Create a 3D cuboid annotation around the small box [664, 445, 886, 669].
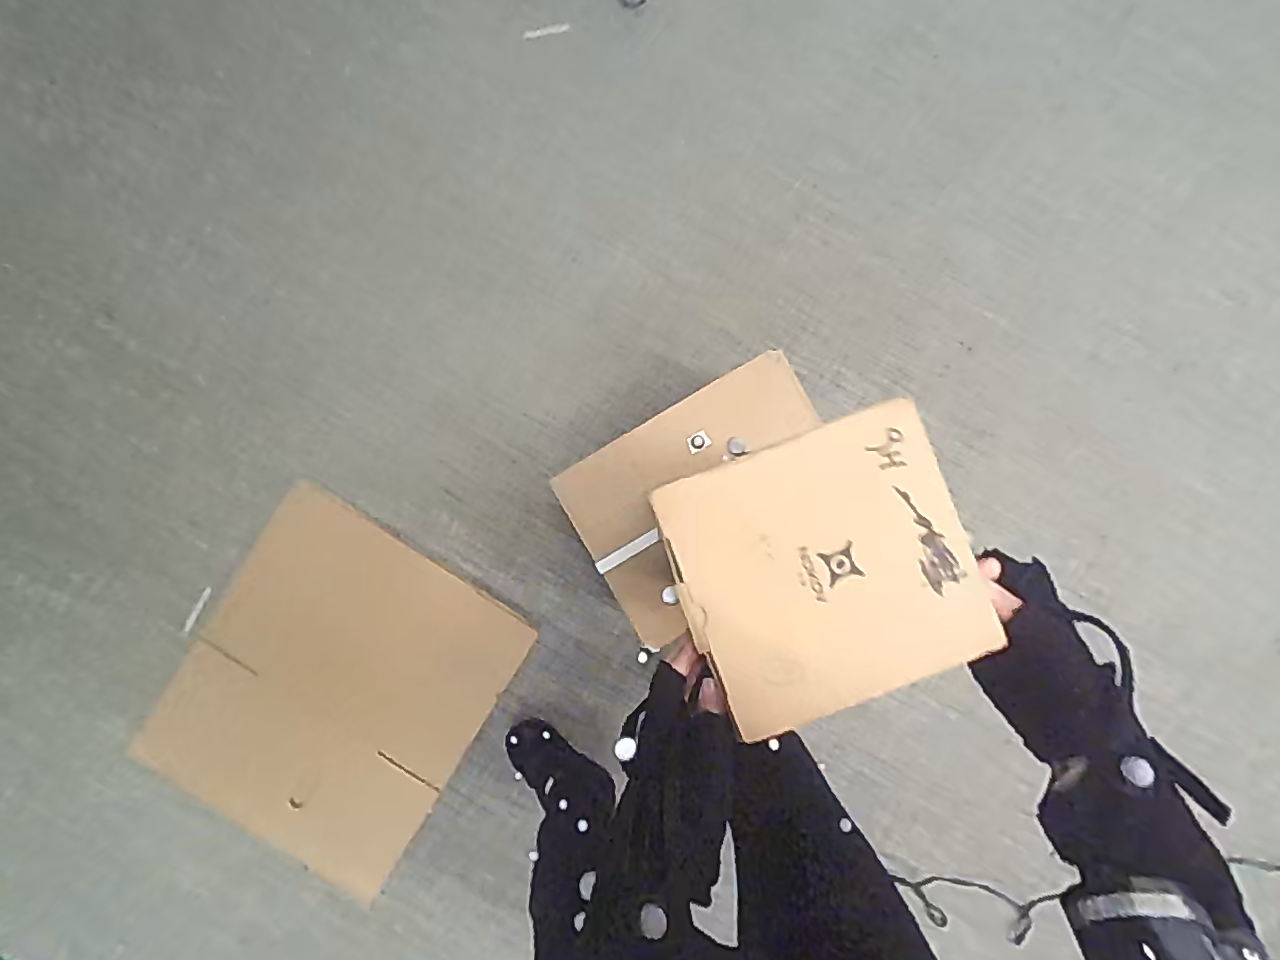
[{"bbox_3d":[0.129,0.071,0.582,0.168,0.176,0.179,-18,89,1],"label":"small box"}]
